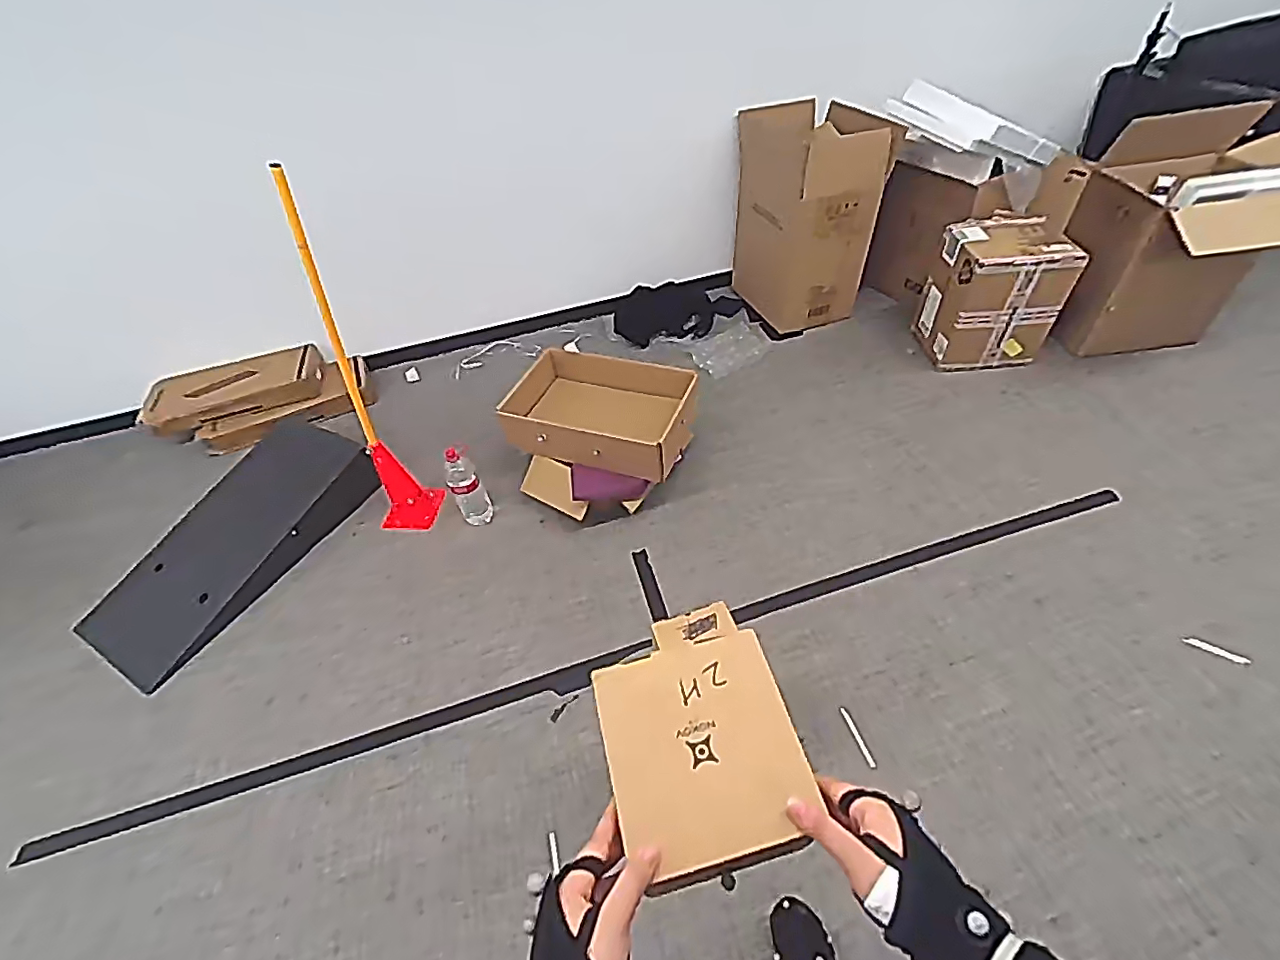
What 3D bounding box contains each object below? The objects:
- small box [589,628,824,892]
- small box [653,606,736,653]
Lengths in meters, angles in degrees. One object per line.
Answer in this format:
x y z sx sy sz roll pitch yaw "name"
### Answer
0.057 0.279 0.533 0.168 0.176 0.179 -15 50 -5 "small box"
0.132 0.398 1.128 0.168 0.176 0.179 -17 47 -9 "small box"
